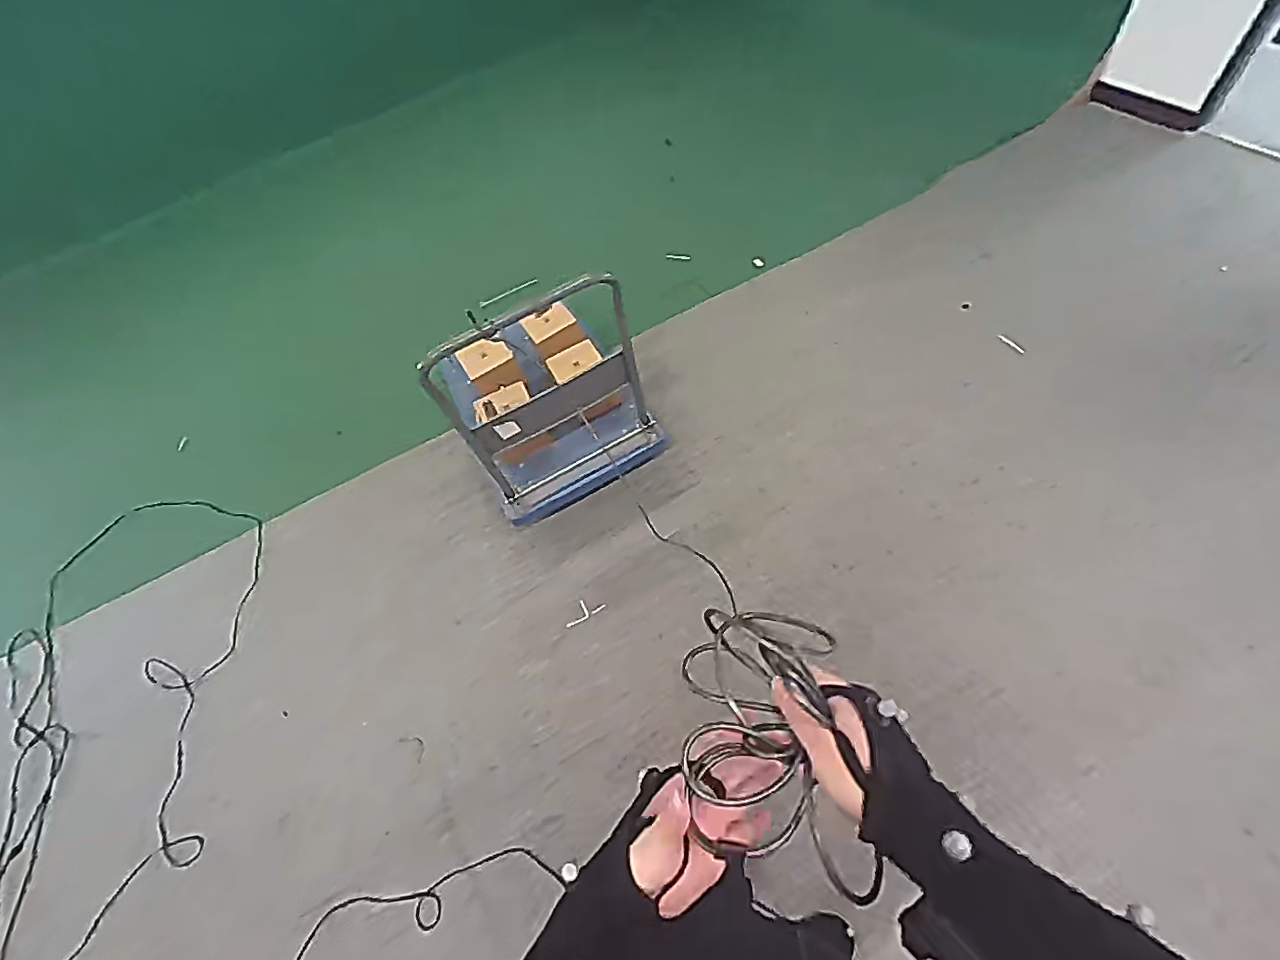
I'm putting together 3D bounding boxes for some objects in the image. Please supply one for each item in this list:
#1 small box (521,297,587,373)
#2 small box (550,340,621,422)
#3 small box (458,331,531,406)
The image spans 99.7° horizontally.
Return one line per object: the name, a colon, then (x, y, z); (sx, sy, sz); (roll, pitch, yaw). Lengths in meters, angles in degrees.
small box: (-0.303, -0.522, 1.966); (0.168, 0.176, 0.179); (-32, 59, -8)
small box: (-0.180, -0.330, 1.821); (0.168, 0.176, 0.179); (-28, 58, -6)
small box: (-0.514, -0.389, 1.929); (0.168, 0.176, 0.179); (-31, 57, -9)
